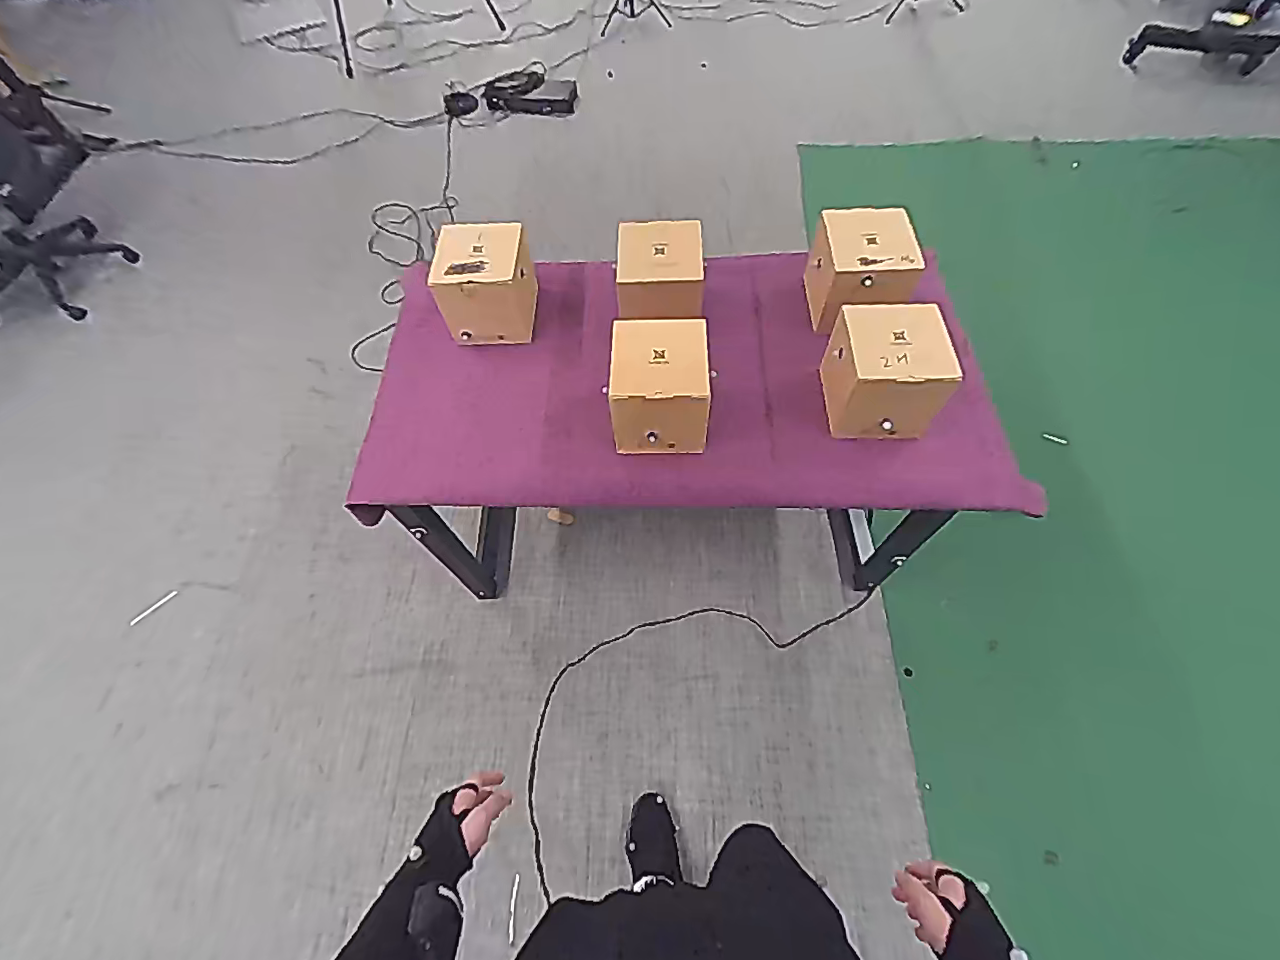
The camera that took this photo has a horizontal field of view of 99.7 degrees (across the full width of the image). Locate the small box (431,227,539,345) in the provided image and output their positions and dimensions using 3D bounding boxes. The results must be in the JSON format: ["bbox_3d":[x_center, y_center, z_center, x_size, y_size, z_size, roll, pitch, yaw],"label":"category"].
[{"bbox_3d":[-0.314,-0.399,1.134,0.168,0.176,0.179,-1,60,2],"label":"small box"}]

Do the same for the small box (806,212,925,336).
[{"bbox_3d":[0.446,-0.417,1.104,0.168,0.176,0.179,-1,61,3],"label":"small box"}]

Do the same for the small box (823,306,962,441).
[{"bbox_3d":[0.438,-0.189,0.973,0.168,0.176,0.179,0,59,4],"label":"small box"}]

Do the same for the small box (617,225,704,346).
[{"bbox_3d":[0.044,-0.399,1.119,0.168,0.176,0.179,-1,61,4],"label":"small box"}]
